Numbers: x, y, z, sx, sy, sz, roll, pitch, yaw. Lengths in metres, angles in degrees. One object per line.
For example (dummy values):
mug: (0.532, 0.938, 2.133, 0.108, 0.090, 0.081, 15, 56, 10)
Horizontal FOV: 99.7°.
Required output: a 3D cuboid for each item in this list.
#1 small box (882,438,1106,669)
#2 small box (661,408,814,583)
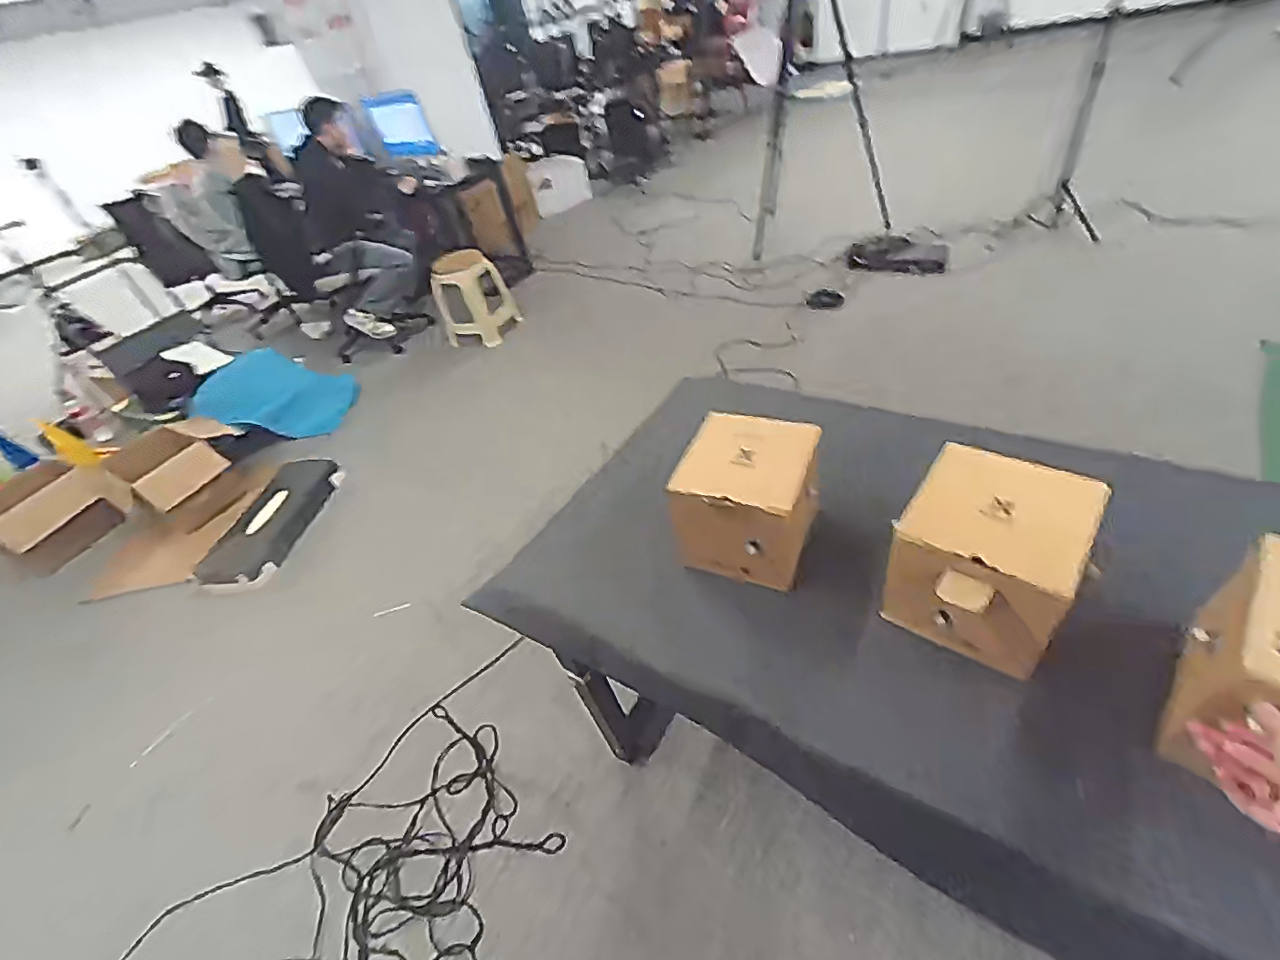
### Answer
small box: (0.406, 0.083, 0.642, 0.168, 0.176, 0.179, 23, 54, 34)
small box: (0.149, 0.021, 0.783, 0.168, 0.176, 0.179, 11, 46, 24)
